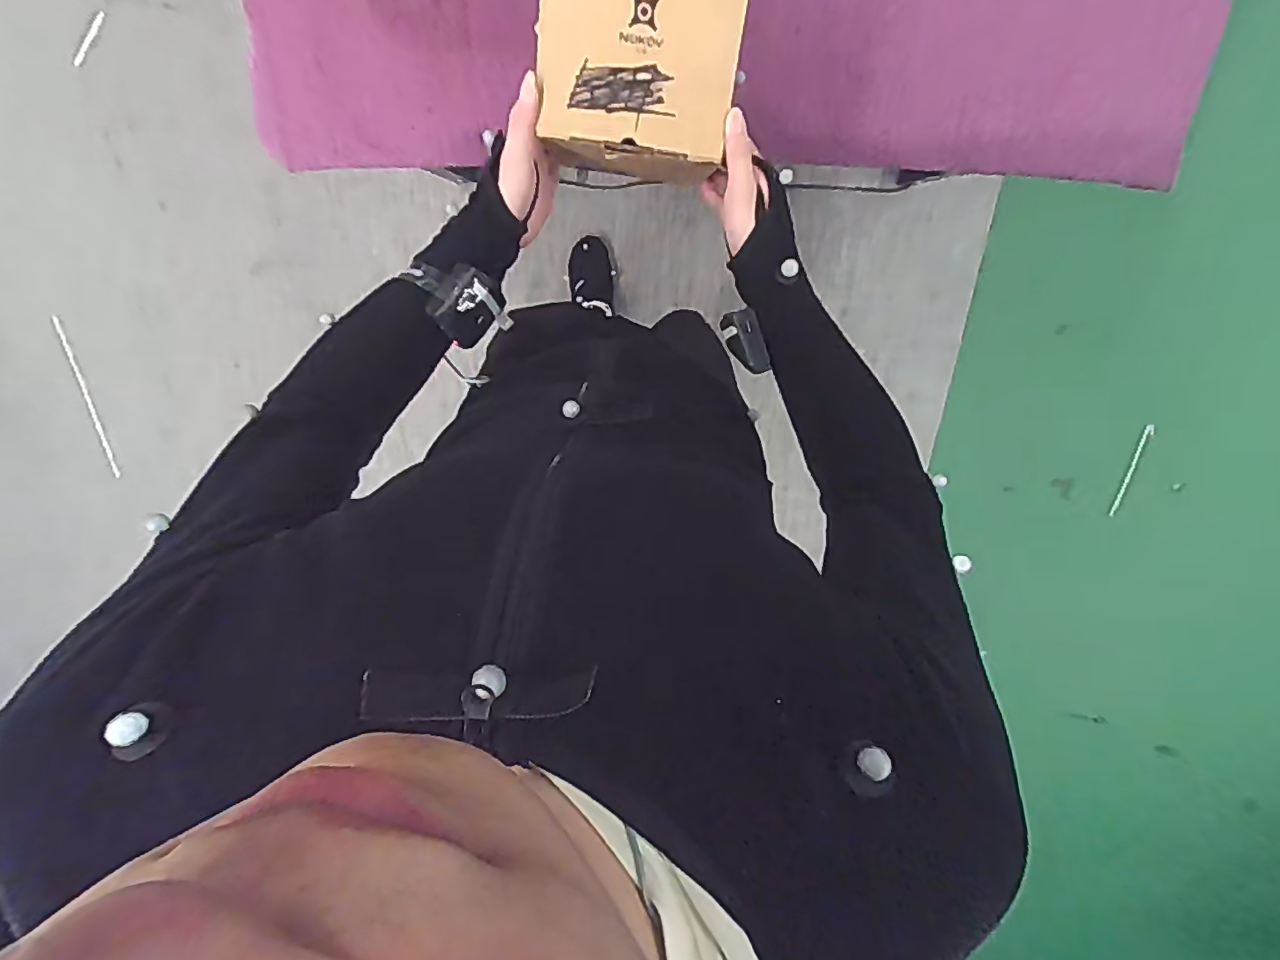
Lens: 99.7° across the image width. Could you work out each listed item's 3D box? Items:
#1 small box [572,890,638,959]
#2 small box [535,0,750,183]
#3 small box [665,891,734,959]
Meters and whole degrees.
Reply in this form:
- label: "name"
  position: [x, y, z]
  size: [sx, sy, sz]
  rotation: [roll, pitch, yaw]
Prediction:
- label: "small box"
  position: [-0.099, 1.289, 1.513]
  size: [0.179, 0.176, 0.168]
  rotation: [4, 111, -2]
- label: "small box"
  position: [0.001, -0.392, 0.505]
  size: [0.168, 0.176, 0.179]
  rotation: [6, 111, -5]
- label: "small box"
  position: [0.162, 1.301, 1.522]
  size: [0.168, 0.176, 0.179]
  rotation: [2, 113, -3]
